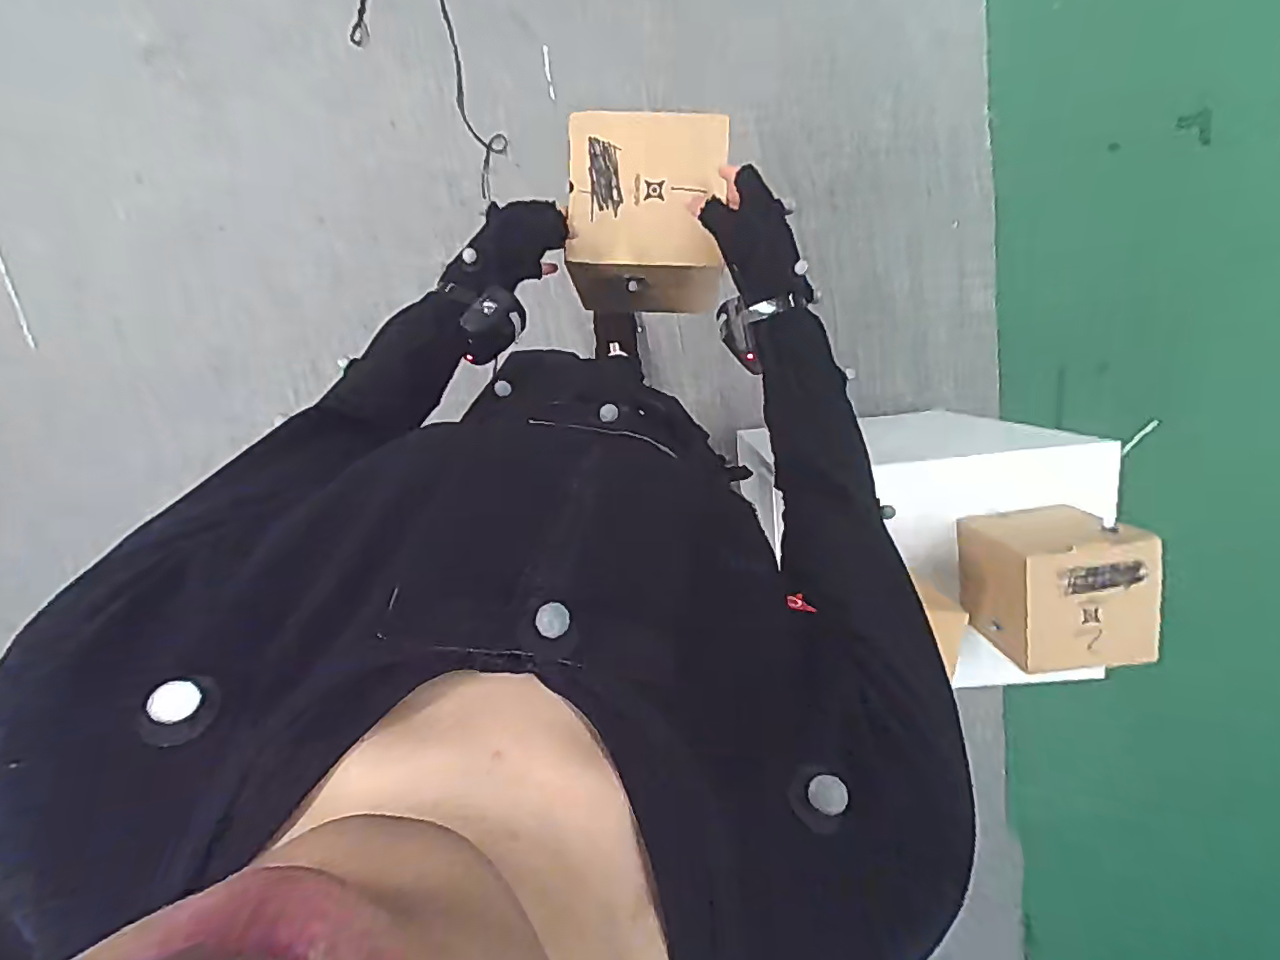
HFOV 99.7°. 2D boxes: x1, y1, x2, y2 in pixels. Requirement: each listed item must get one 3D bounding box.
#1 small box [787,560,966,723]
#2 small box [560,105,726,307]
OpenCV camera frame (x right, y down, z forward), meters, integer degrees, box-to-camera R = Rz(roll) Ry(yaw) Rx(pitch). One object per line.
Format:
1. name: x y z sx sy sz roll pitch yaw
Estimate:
1. small box: 0.336 0.229 0.804 0.179 0.176 0.168 7 102 1
2. small box: 0.005 -0.318 0.660 0.179 0.176 0.168 2 91 1
